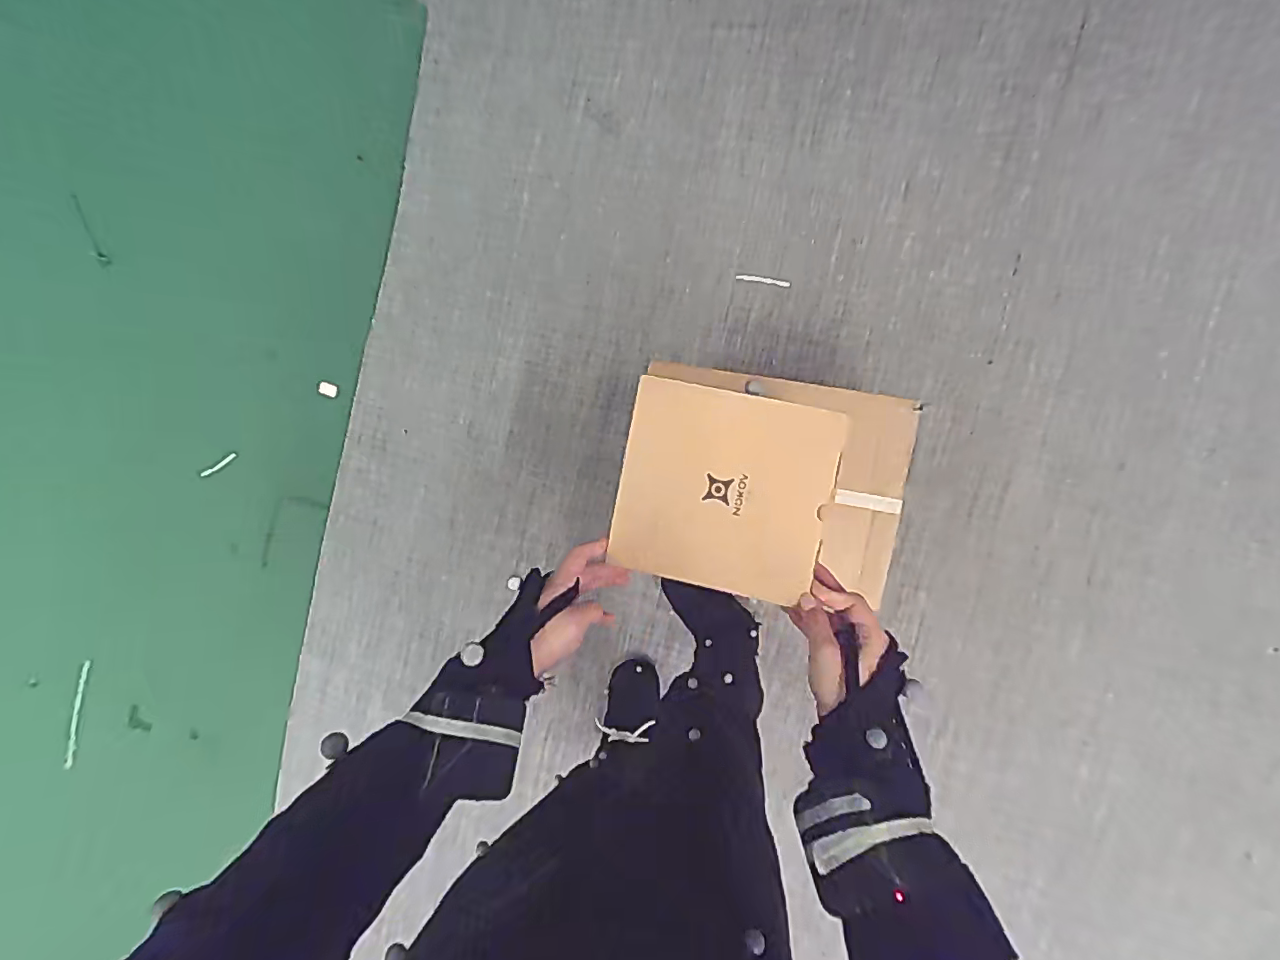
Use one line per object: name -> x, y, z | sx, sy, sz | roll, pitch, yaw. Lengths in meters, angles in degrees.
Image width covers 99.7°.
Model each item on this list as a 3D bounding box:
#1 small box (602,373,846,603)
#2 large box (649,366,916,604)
small box -> 0.076, 0.003, 0.531 | 0.179, 0.176, 0.168 | 12, 95, 6
large box -> 0.208, 0.001, 0.965 | 0.408, 0.320, 0.320 | 10, 93, 10
